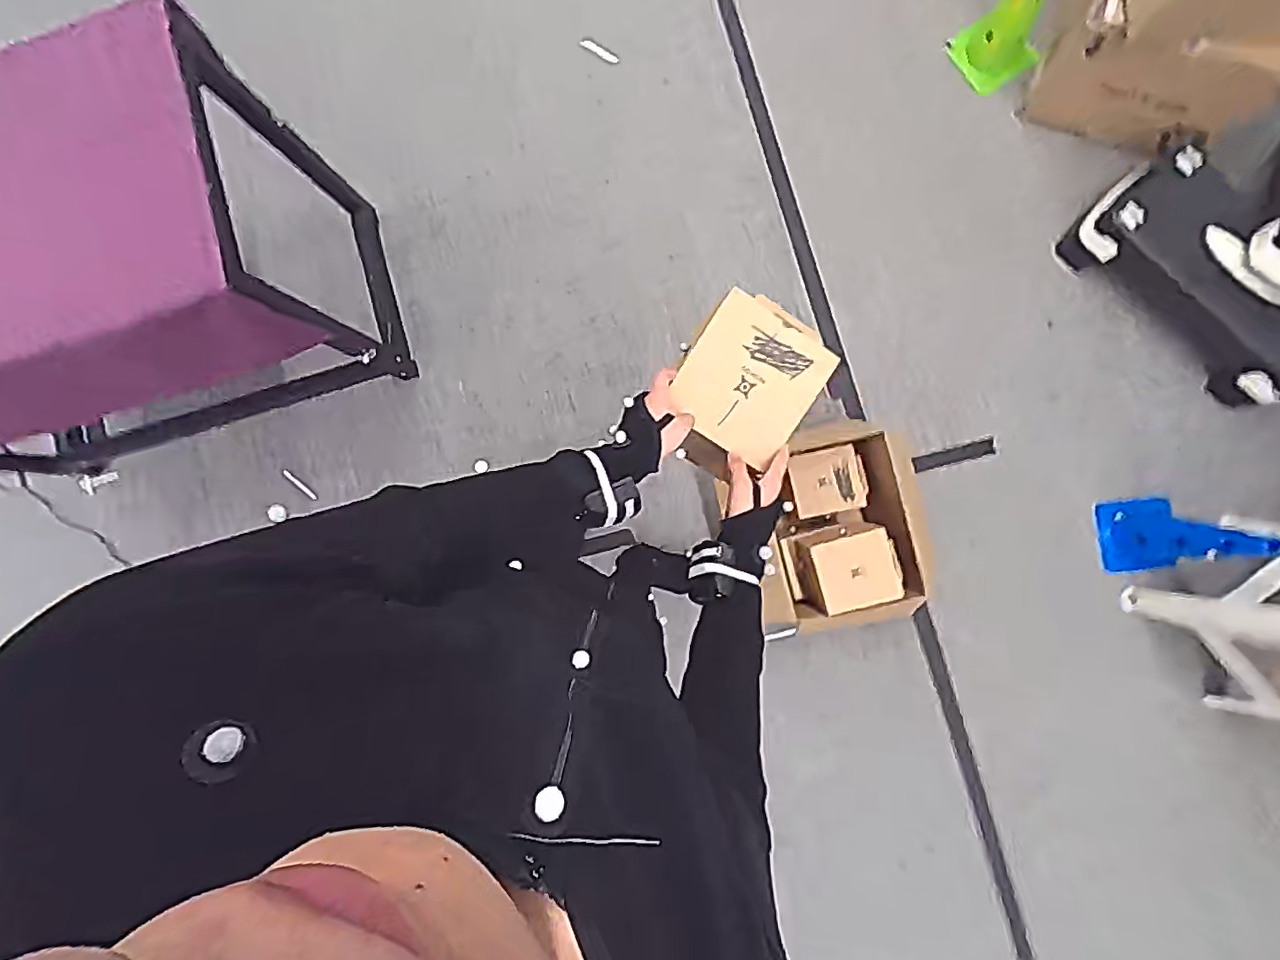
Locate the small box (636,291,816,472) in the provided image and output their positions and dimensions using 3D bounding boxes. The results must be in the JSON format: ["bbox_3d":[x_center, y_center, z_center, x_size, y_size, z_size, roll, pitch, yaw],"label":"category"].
[{"bbox_3d":[0.110,-0.127,0.773,0.168,0.176,0.179,31,82,-7],"label":"small box"}]
